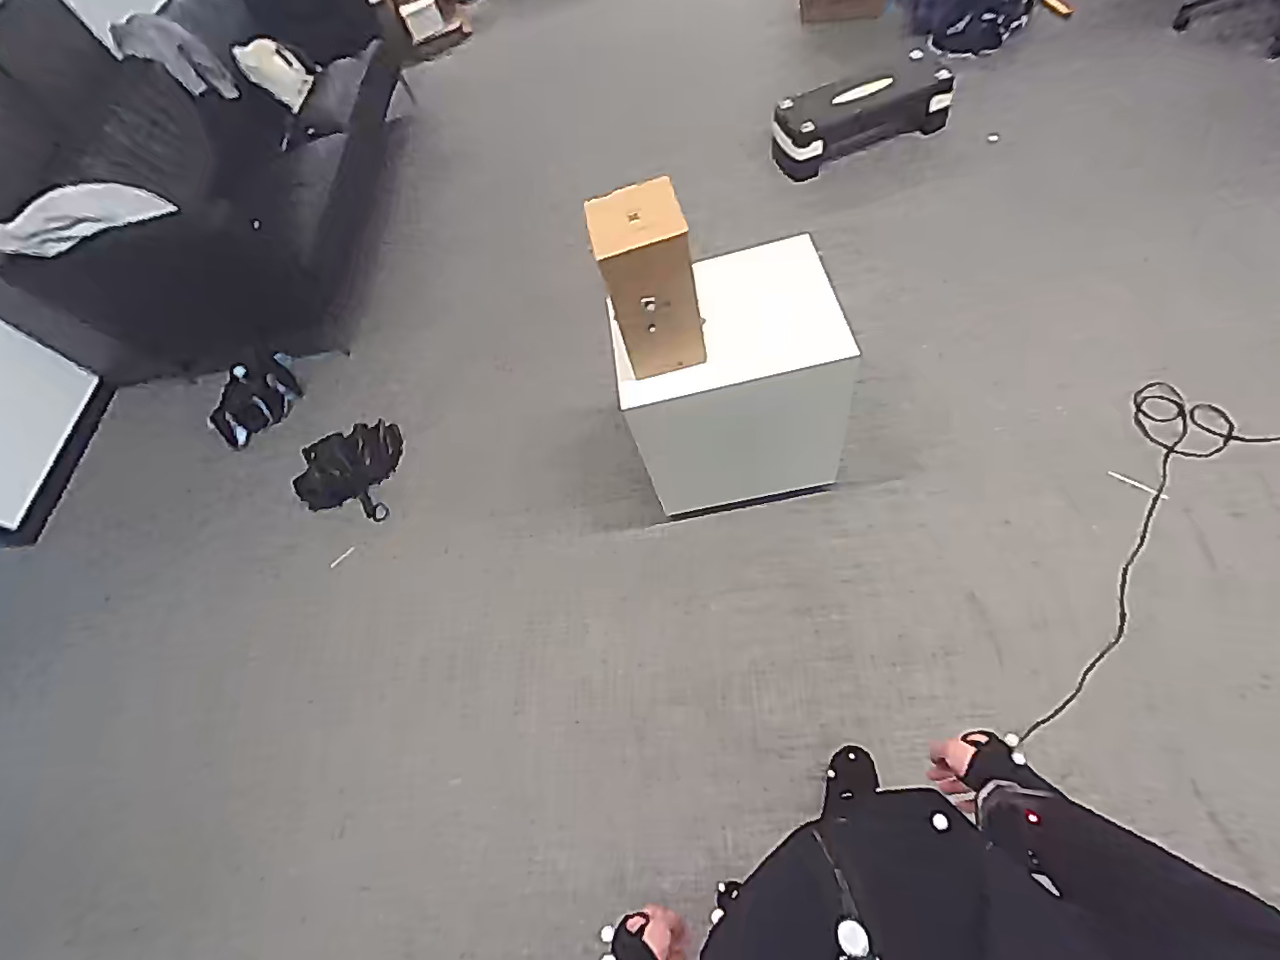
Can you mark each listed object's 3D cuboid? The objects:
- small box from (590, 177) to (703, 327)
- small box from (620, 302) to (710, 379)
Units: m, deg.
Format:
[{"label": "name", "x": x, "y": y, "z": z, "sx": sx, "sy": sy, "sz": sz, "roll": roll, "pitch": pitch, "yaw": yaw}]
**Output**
[{"label": "small box", "x": 0.015, "y": -0.425, "z": 1.025, "sx": 0.168, "sy": 0.176, "sz": 0.179, "roll": -16, "pitch": 59, "yaw": 6}, {"label": "small box", "x": 0.050, "y": -0.349, "z": 1.164, "sx": 0.168, "sy": 0.176, "sz": 0.179, "roll": -13, "pitch": 58, "yaw": 7}]
